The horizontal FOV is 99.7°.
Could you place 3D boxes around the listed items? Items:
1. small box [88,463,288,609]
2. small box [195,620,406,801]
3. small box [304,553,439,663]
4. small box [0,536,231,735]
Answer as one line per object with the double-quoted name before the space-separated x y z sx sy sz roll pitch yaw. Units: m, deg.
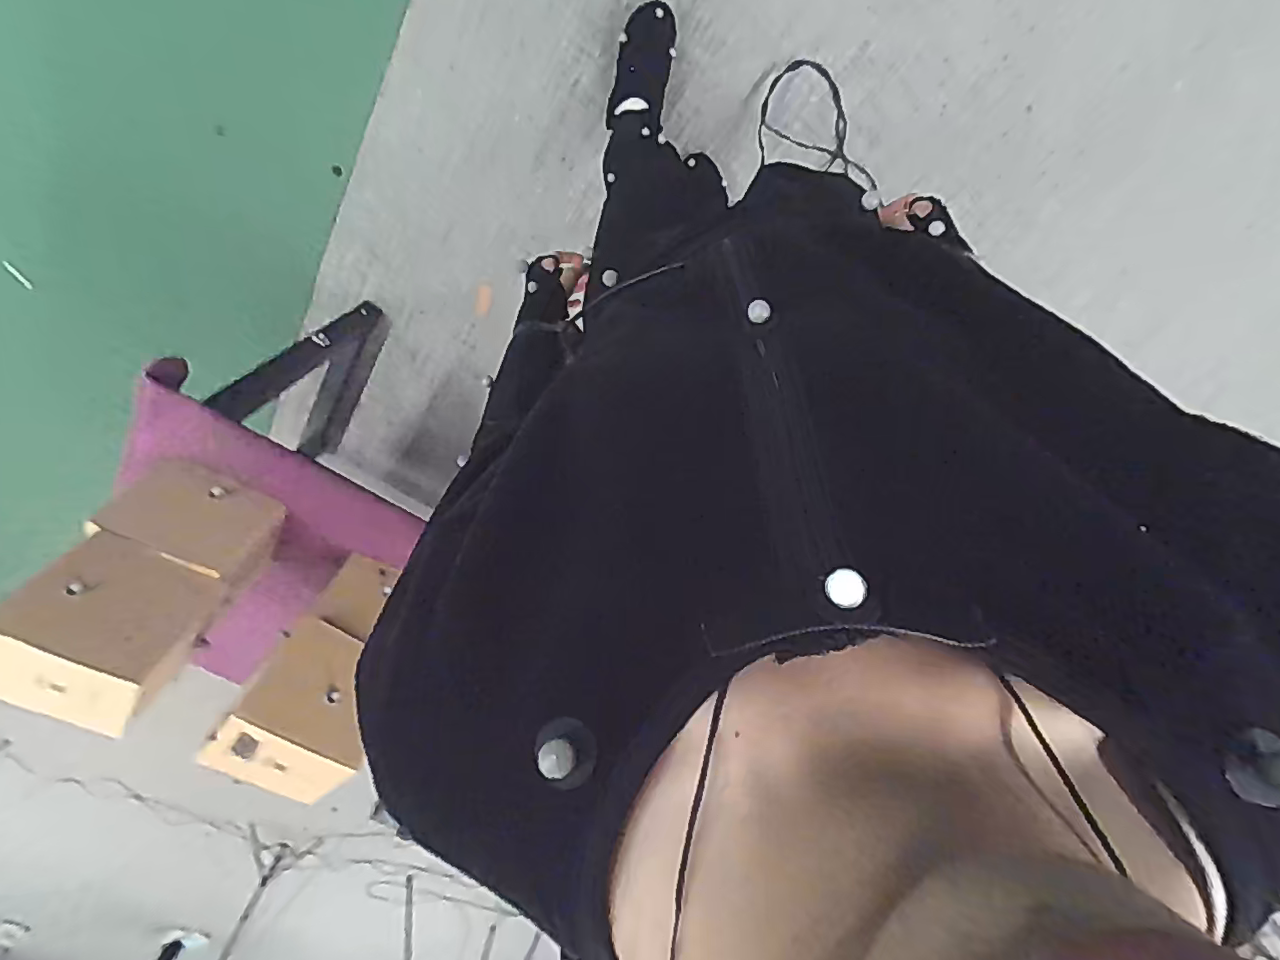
"small box" -0.705 0.097 0.854 0.179 0.176 0.168 29 122 -15
"small box" -0.489 0.334 0.801 0.179 0.176 0.168 39 120 -22
"small box" -0.478 0.263 0.952 0.168 0.176 0.179 26 123 -14
"small box" -0.710 0.201 0.727 0.179 0.176 0.168 33 120 -19
